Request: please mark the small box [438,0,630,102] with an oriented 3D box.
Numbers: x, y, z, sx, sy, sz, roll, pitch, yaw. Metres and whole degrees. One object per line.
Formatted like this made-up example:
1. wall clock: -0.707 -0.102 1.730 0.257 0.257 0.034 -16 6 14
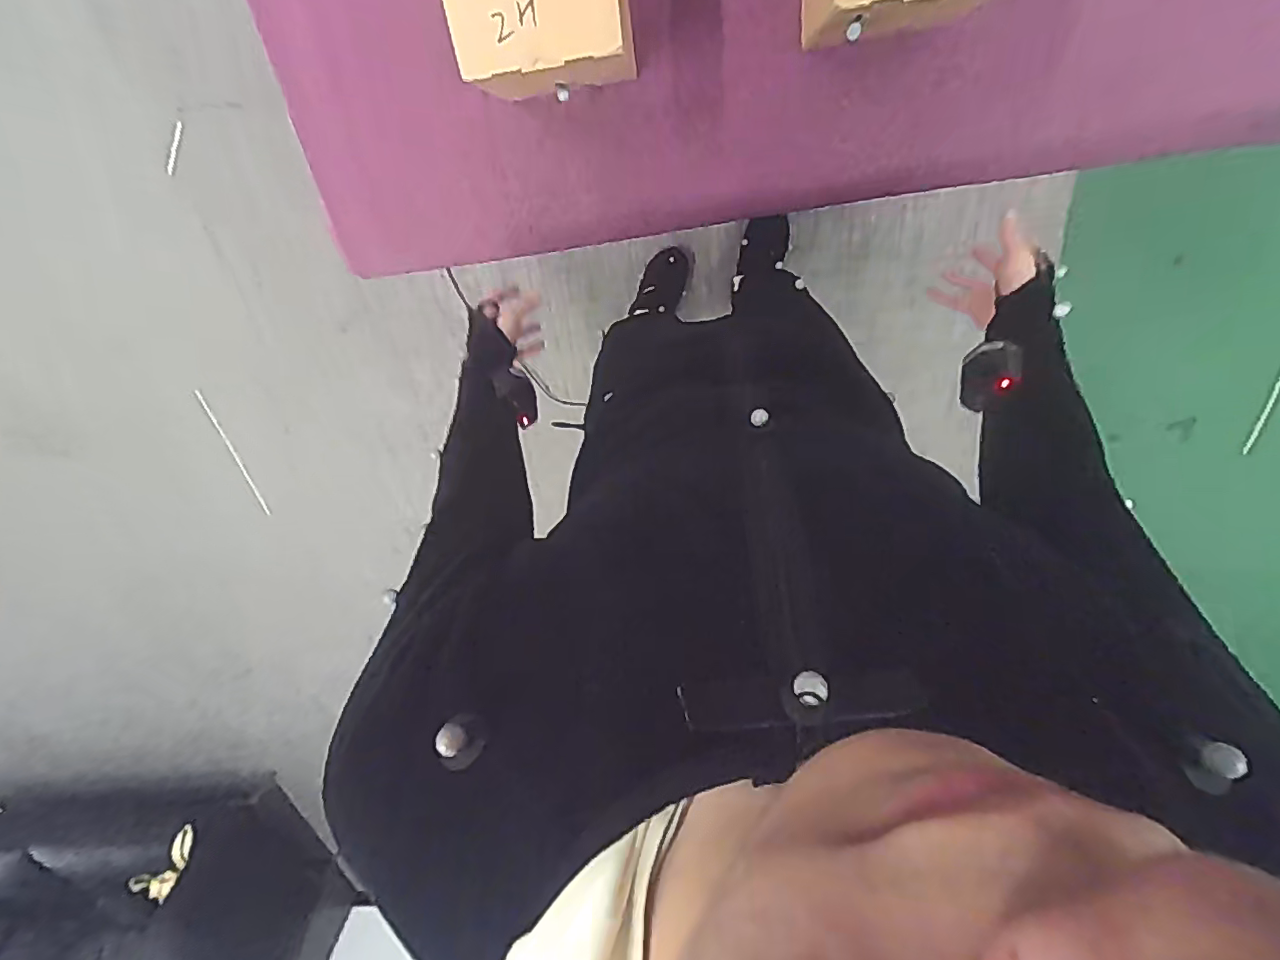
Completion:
1. small box: -0.104 -0.509 0.548 0.168 0.176 0.179 -5 119 7
